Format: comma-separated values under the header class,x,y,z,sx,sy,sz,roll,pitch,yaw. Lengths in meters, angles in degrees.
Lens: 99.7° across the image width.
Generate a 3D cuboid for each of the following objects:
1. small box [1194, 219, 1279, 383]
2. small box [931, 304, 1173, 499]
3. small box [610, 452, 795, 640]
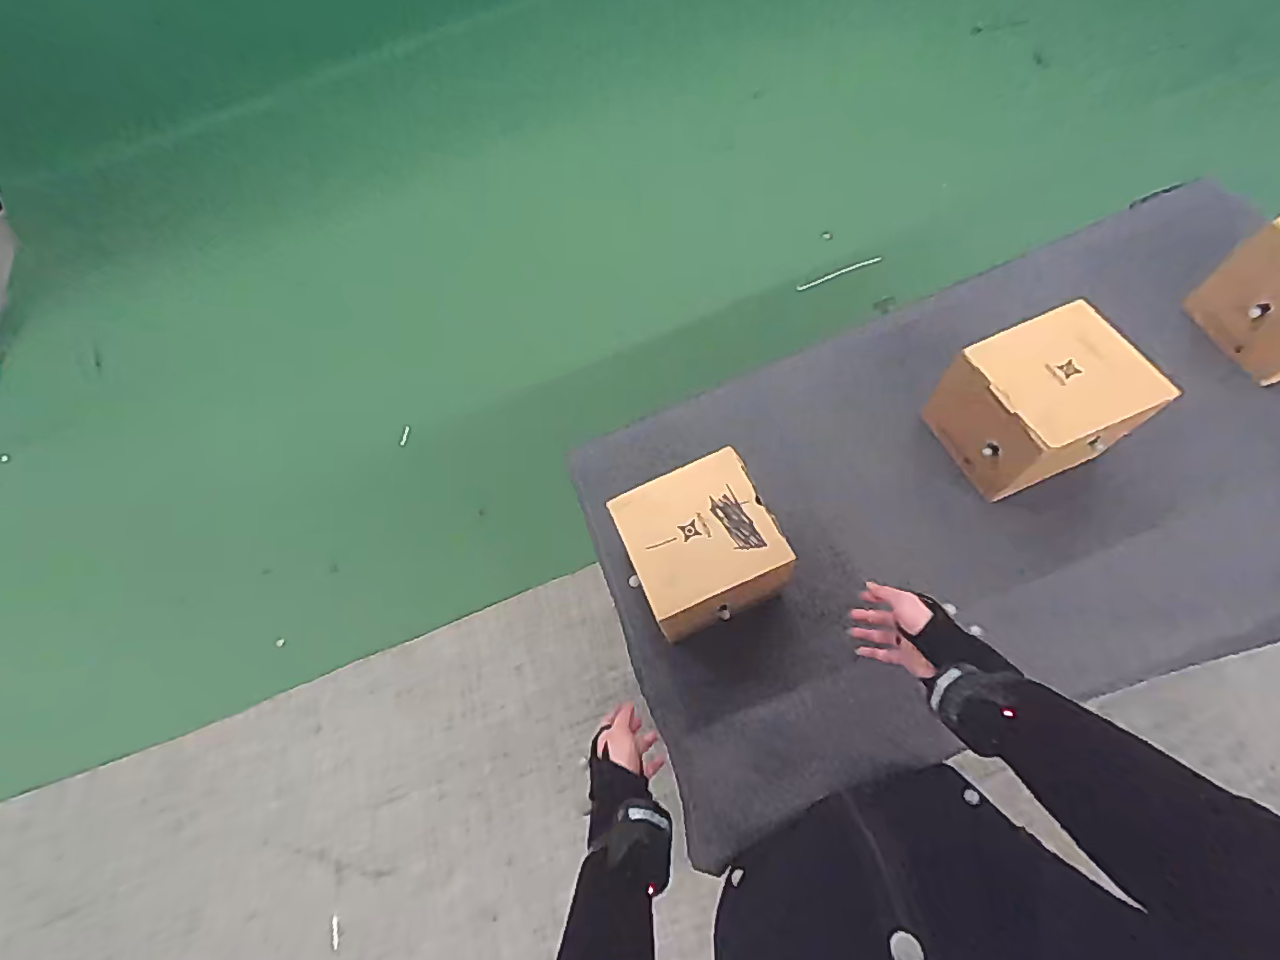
class,x,y,z,sx,sy,sz,roll,pitch,yaw
small box,0.936,-0.259,0.741,0.179,0.176,0.168,-18,65,1
small box,0.531,-0.097,0.736,0.179,0.176,0.168,-23,65,-3
small box,0.080,0.095,0.717,0.179,0.176,0.168,-24,64,-2
